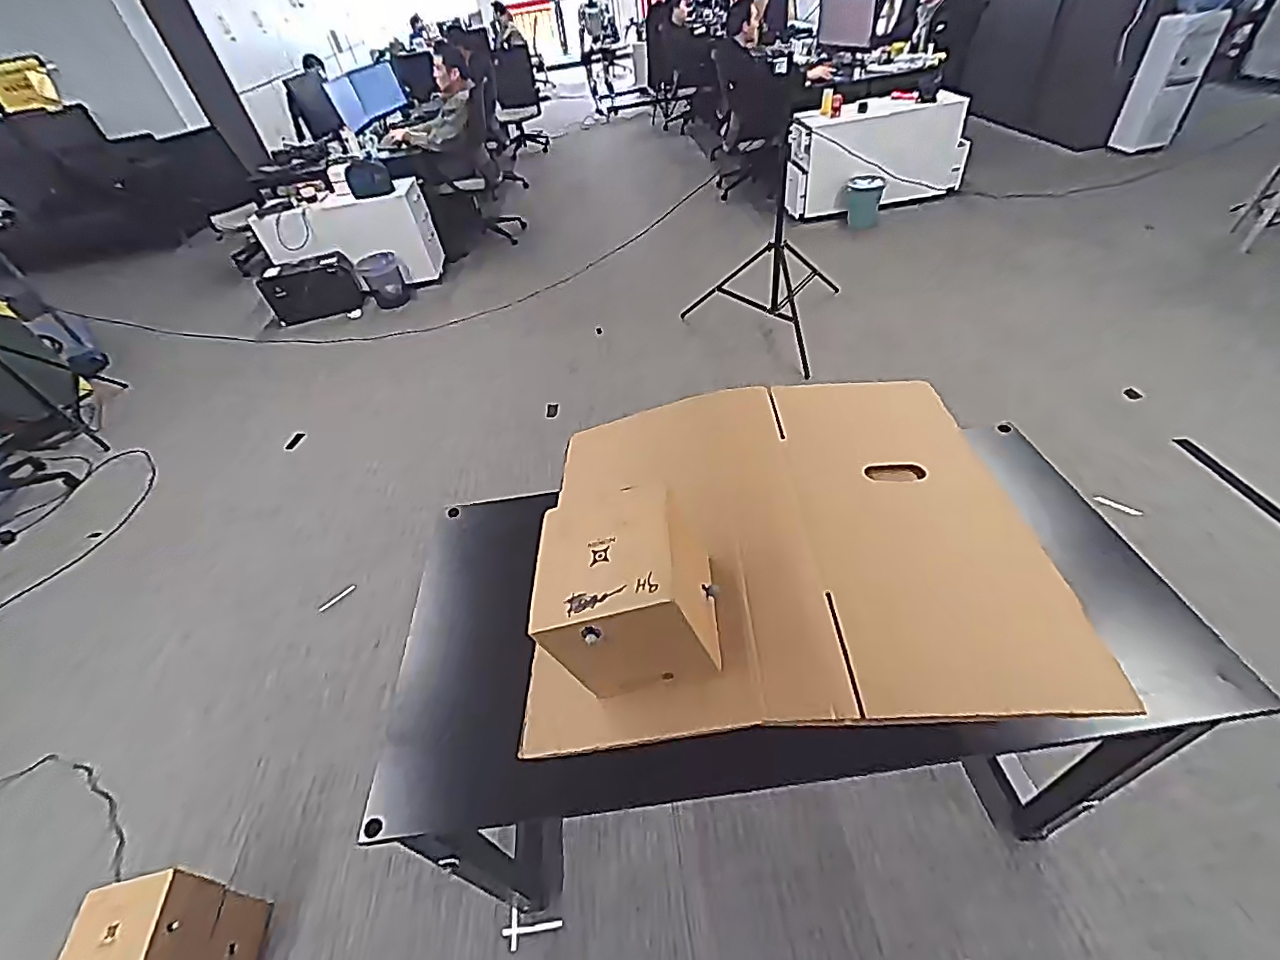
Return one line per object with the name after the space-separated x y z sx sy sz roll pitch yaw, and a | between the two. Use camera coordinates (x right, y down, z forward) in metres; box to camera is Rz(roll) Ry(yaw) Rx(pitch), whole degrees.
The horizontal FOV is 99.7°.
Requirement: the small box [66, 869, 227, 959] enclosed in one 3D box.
-0.972 0.911 1.070 0.168 0.176 0.179 -13 42 -5 | small box

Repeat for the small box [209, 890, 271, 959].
-0.949 1.031 1.177 0.168 0.176 0.179 -11 44 -2 | small box

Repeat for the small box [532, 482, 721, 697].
-0.008 0.136 0.659 0.168 0.176 0.179 -17 41 15 | small box
